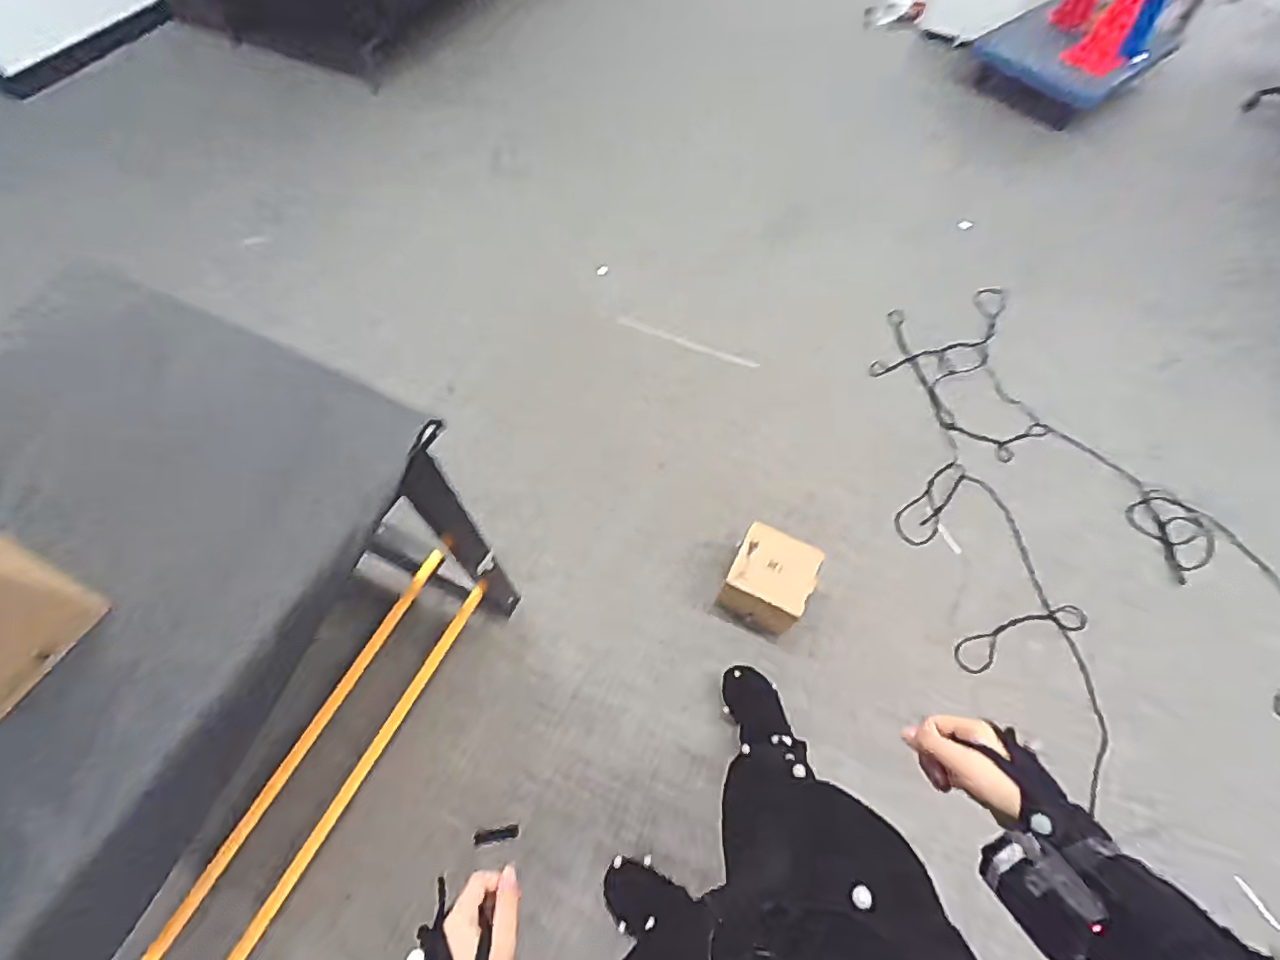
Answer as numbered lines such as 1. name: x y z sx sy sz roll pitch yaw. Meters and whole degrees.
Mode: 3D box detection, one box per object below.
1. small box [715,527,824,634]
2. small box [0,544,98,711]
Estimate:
1. small box: 0.295 0.242 1.262 0.179 0.176 0.168 26 63 11
2. small box: -0.664 0.127 0.478 0.179 0.176 0.168 23 63 13
